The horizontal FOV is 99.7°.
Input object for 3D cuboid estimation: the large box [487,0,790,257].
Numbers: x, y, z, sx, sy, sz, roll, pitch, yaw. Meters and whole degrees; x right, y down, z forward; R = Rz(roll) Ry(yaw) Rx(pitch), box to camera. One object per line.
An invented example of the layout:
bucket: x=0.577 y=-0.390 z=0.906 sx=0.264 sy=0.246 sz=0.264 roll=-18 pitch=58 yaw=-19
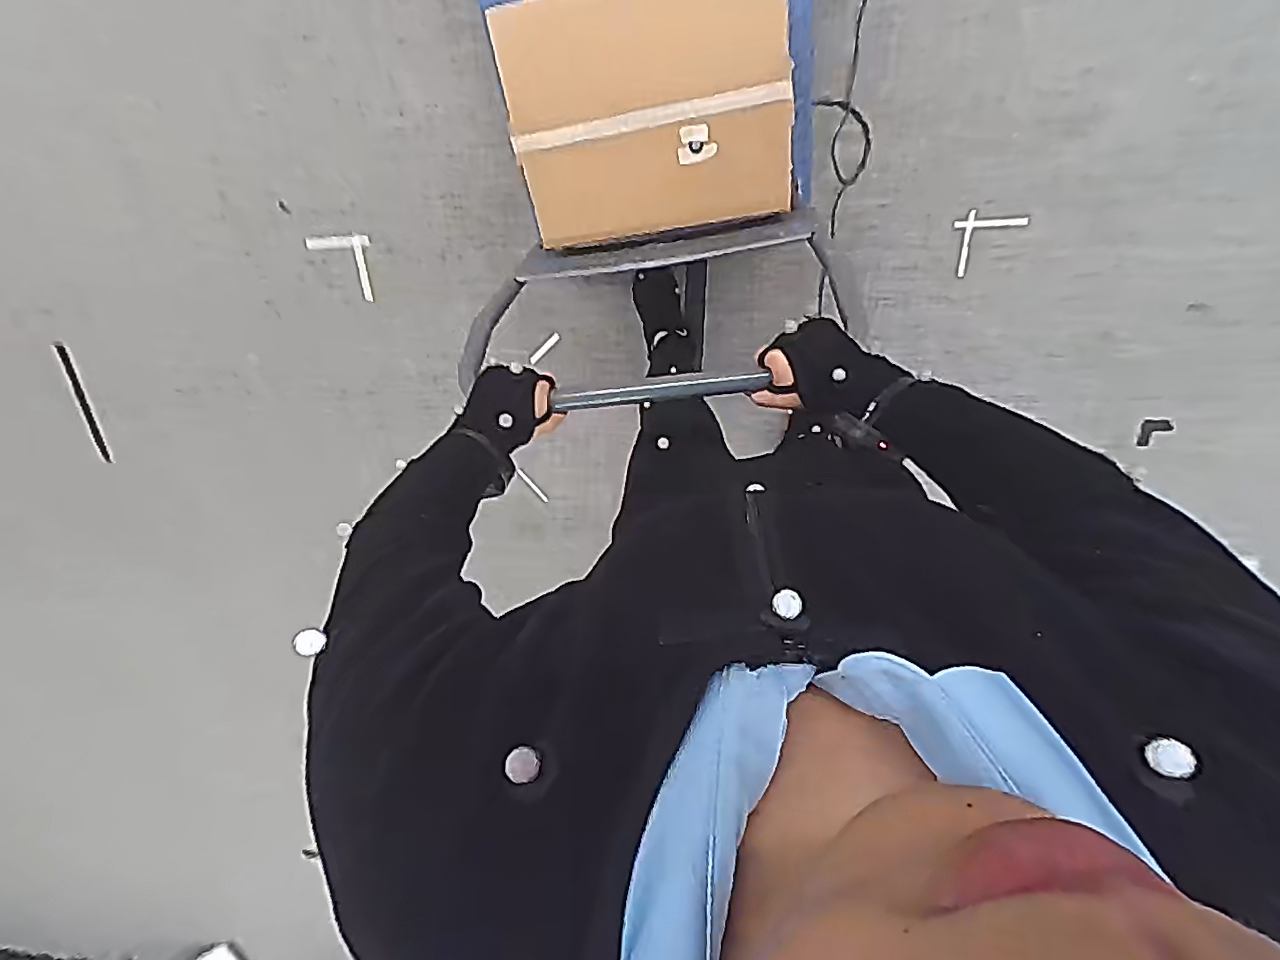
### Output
large box: x=0.020 y=-0.601 z=0.906 sx=0.408 sy=0.320 sz=0.320 roll=-6 pitch=125 yaw=10
